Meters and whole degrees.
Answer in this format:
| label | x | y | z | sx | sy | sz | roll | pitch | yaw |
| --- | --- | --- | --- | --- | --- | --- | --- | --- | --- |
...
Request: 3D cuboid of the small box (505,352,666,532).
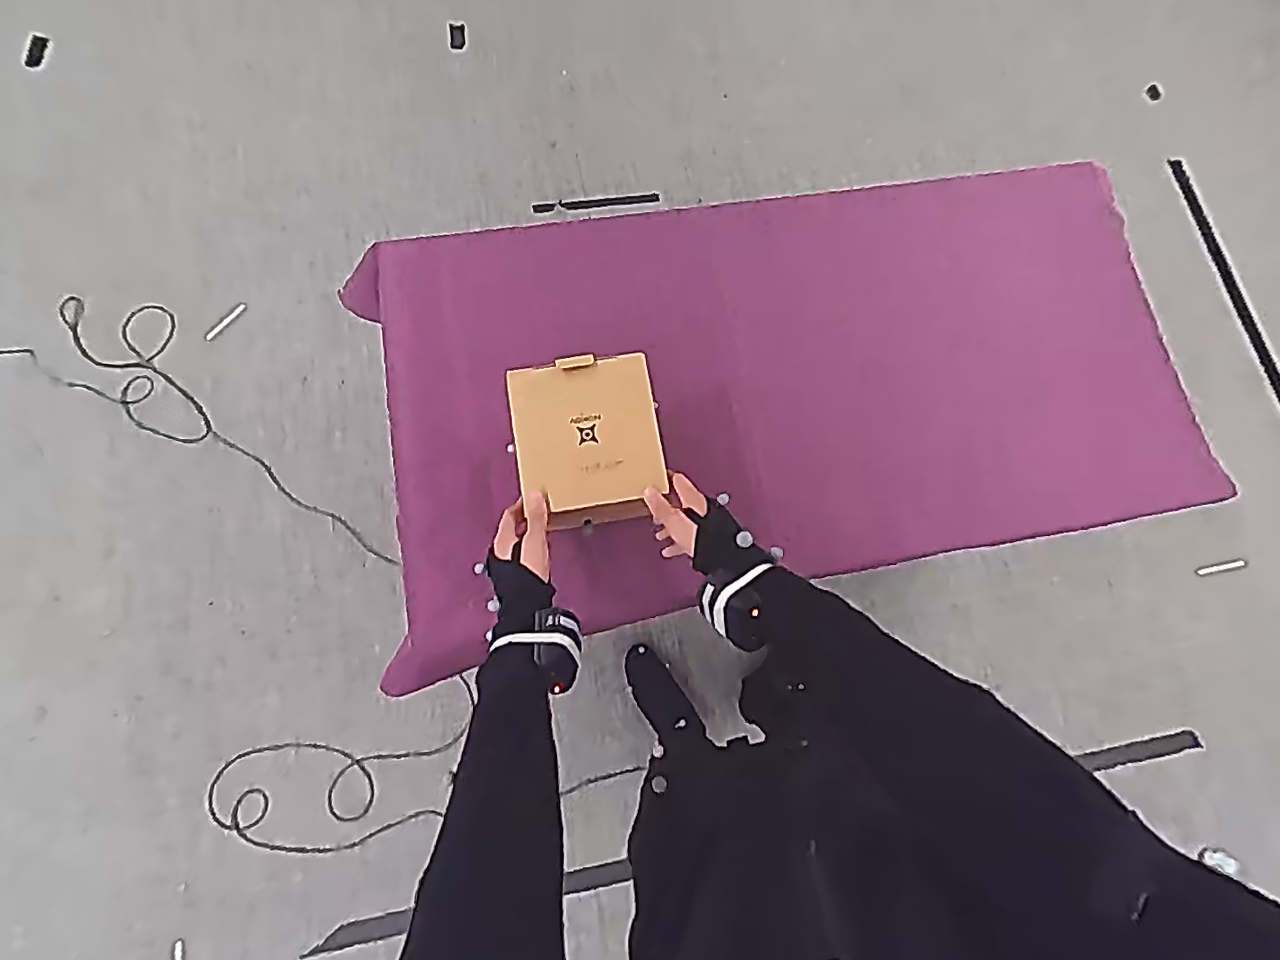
| label | x | y | z | sx | sy | sz | roll | pitch | yaw |
| --- | --- | --- | --- | --- | --- | --- | --- | --- | --- |
| small box | -0.068 | -0.039 | 0.685 | 0.168 | 0.176 | 0.179 | -9 | 79 | -5 |
